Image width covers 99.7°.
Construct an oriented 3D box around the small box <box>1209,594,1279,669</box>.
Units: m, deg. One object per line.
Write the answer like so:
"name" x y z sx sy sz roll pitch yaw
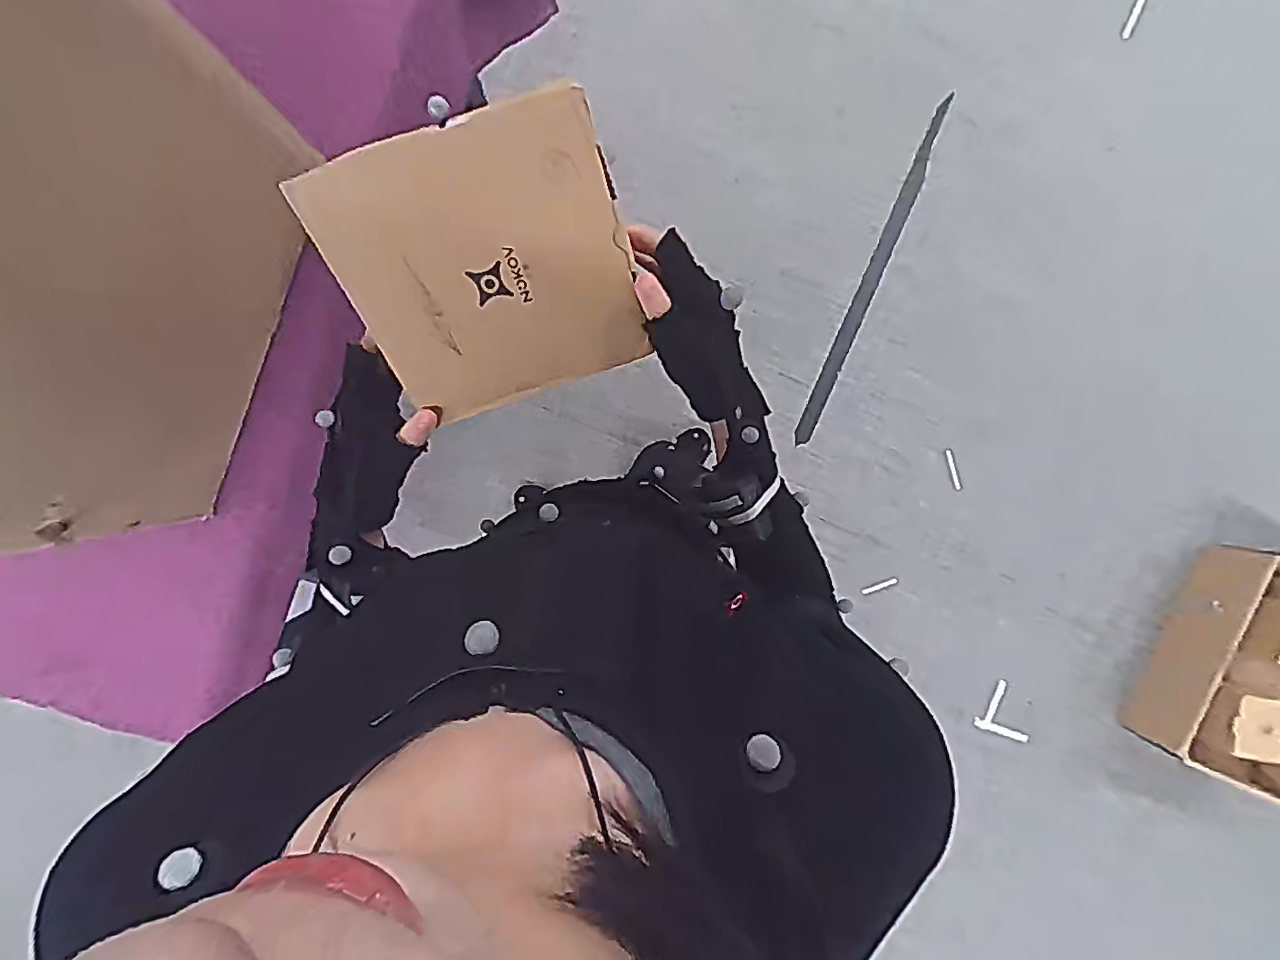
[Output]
"small box" 1.764 0.432 1.494 0.179 0.176 0.168 21 92 -4
